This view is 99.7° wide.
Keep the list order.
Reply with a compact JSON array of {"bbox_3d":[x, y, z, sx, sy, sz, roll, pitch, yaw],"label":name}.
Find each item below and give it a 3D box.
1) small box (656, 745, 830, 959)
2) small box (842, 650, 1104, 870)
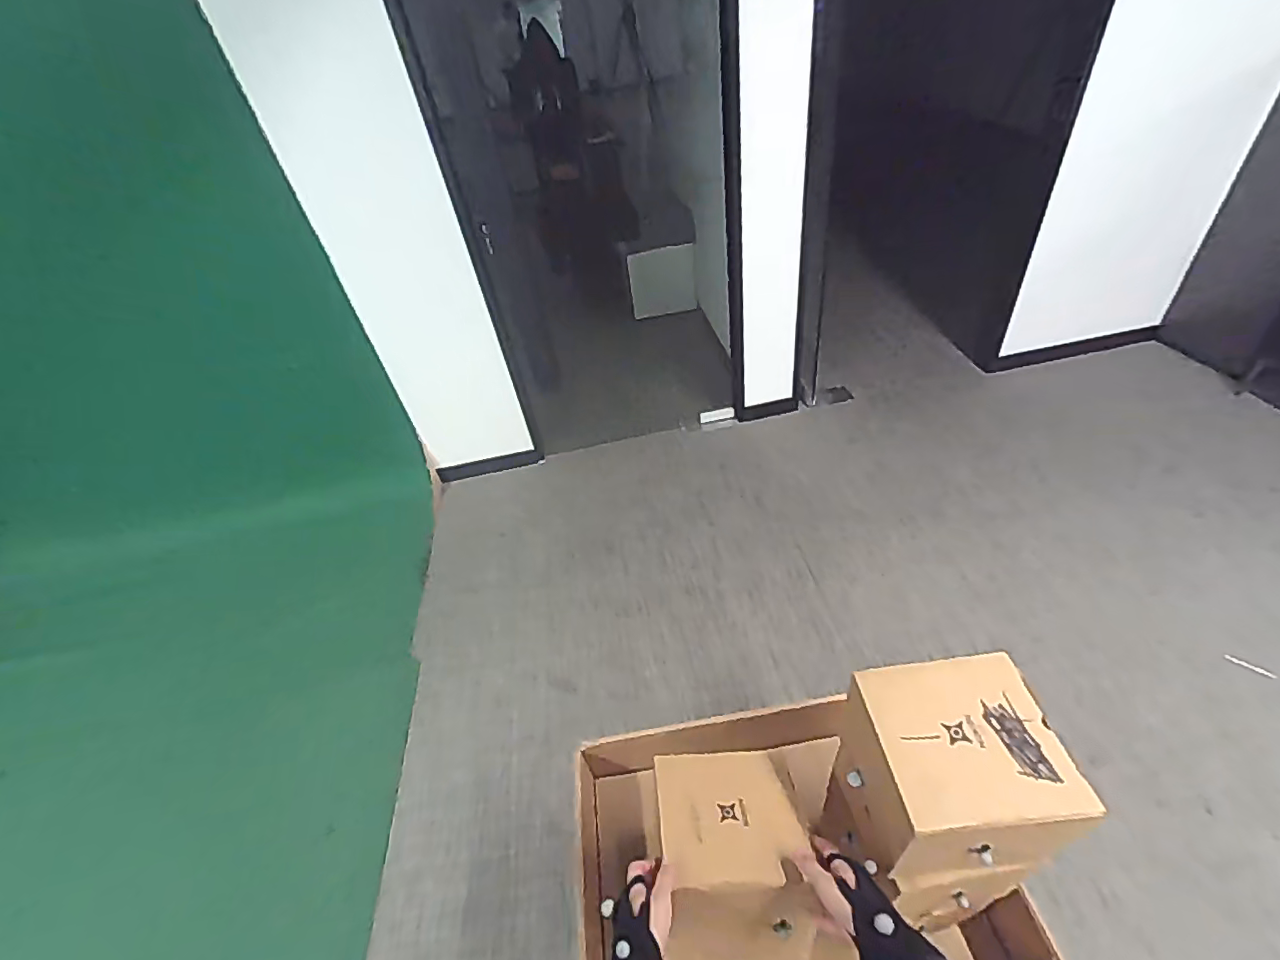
[{"bbox_3d":[0.113,0.463,0.677,0.179,0.176,0.168,-2,24,-3],"label":"small box"},{"bbox_3d":[0.345,0.315,0.607,0.179,0.176,0.168,-9,41,3],"label":"small box"}]
